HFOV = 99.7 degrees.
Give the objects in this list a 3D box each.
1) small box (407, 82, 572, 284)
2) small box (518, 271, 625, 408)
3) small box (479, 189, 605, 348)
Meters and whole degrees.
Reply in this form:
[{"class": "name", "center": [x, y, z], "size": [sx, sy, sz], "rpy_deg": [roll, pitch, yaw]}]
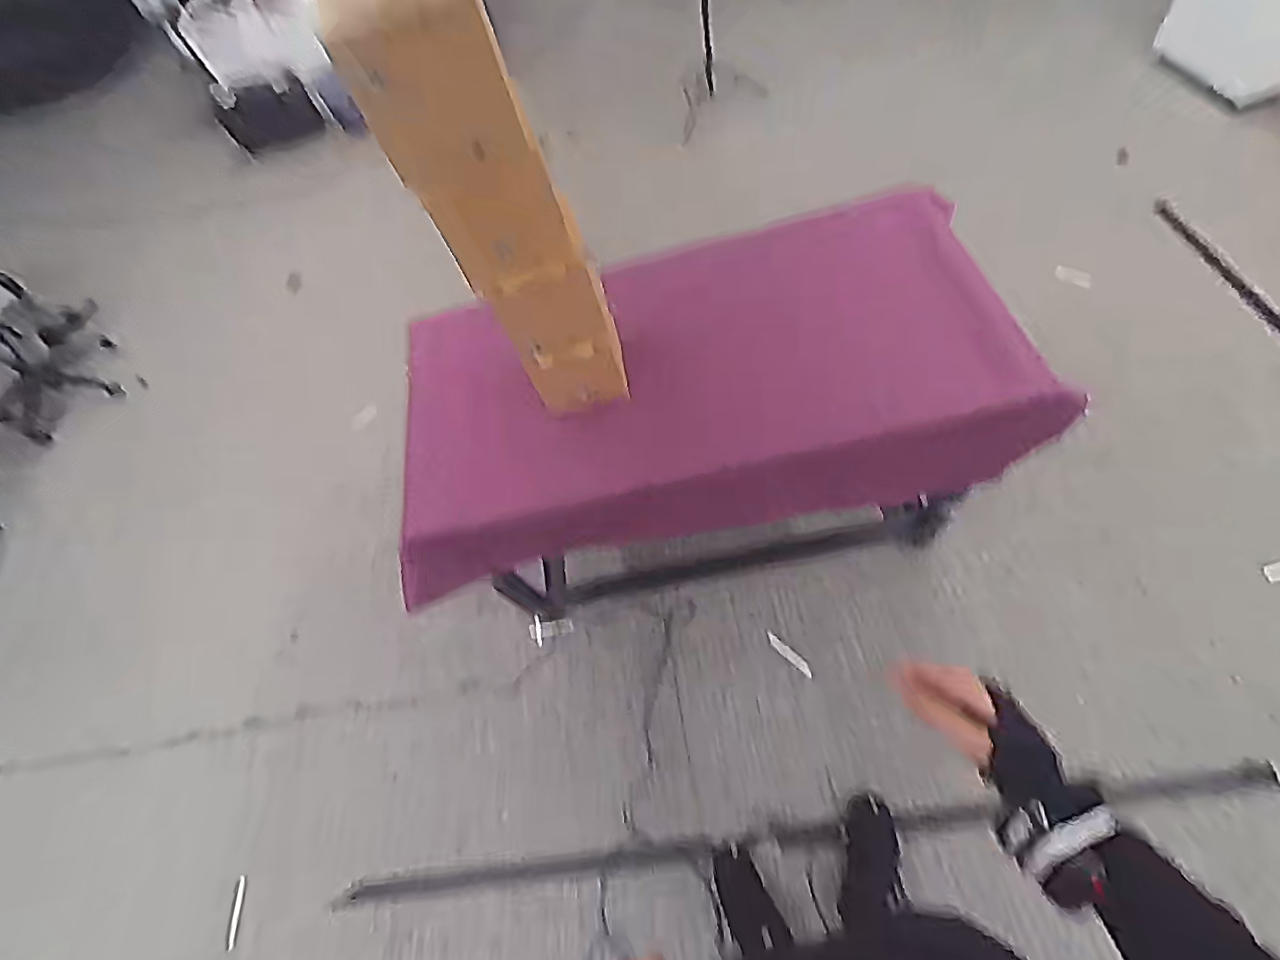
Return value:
[{"class": "small box", "center": [-0.212, -0.422, 0.783], "size": [0.168, 0.176, 0.179], "rpy_deg": [-20, 60, 2]}, {"class": "small box", "center": [-0.133, -0.271, 1.062], "size": [0.168, 0.176, 0.179], "rpy_deg": [-13, 60, 6]}, {"class": "small box", "center": [-0.166, -0.348, 0.920], "size": [0.168, 0.176, 0.179], "rpy_deg": [-16, 59, 3]}]
